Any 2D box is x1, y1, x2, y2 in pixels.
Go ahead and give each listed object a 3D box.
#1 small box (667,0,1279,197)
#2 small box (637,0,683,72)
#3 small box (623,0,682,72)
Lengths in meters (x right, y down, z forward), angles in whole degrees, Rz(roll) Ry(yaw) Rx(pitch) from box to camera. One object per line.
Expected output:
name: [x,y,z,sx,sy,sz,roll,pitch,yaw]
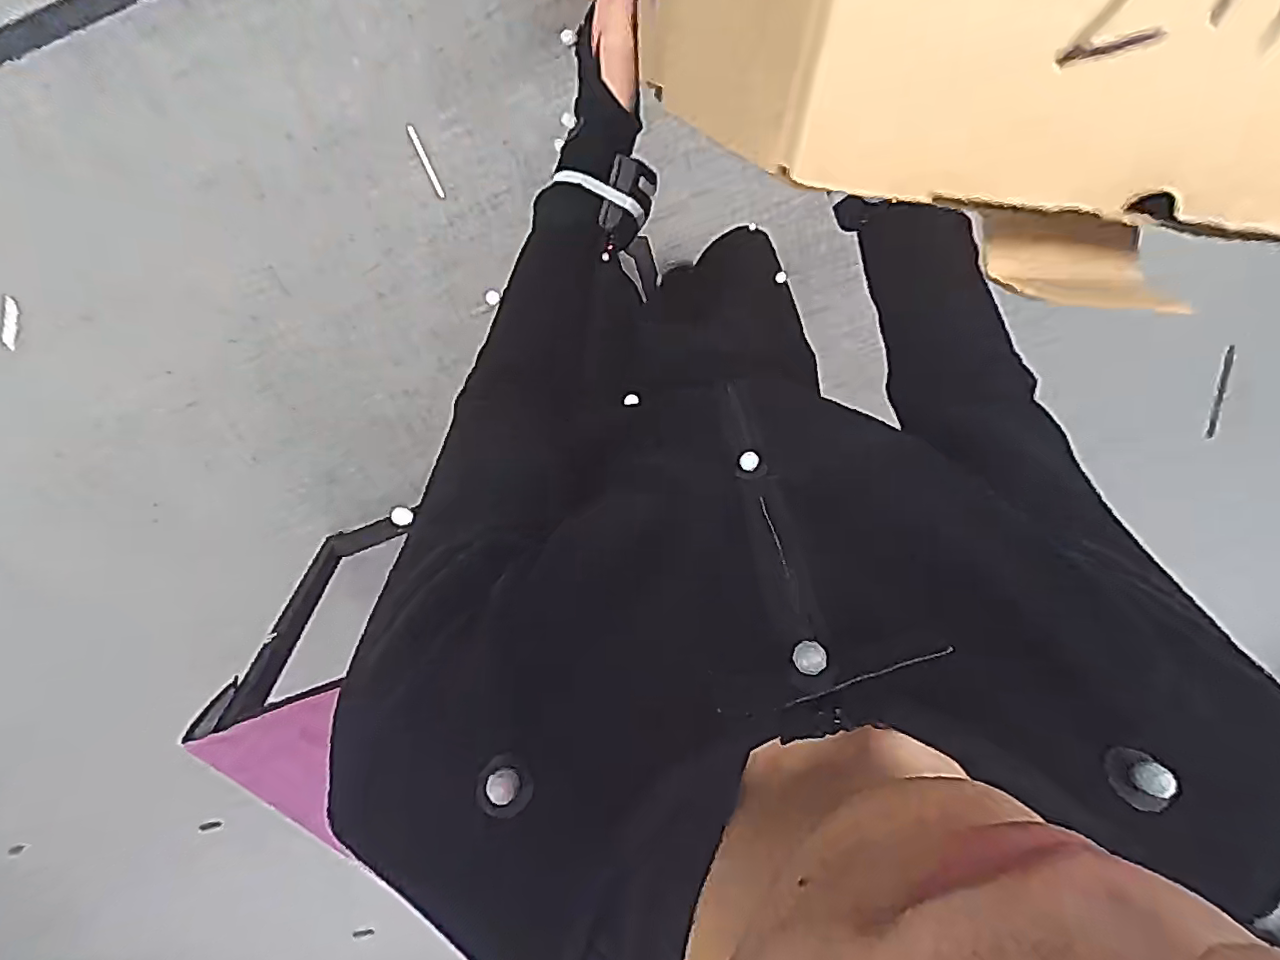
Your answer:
small box: [0.106,-0.183,0.126,0.168,0.176,0.179,2,128,-9]
small box: [0.087,-0.297,0.245,0.168,0.176,0.179,-3,129,-5]
small box: [0.074,-0.396,0.374,0.168,0.176,0.179,-4,128,-4]
